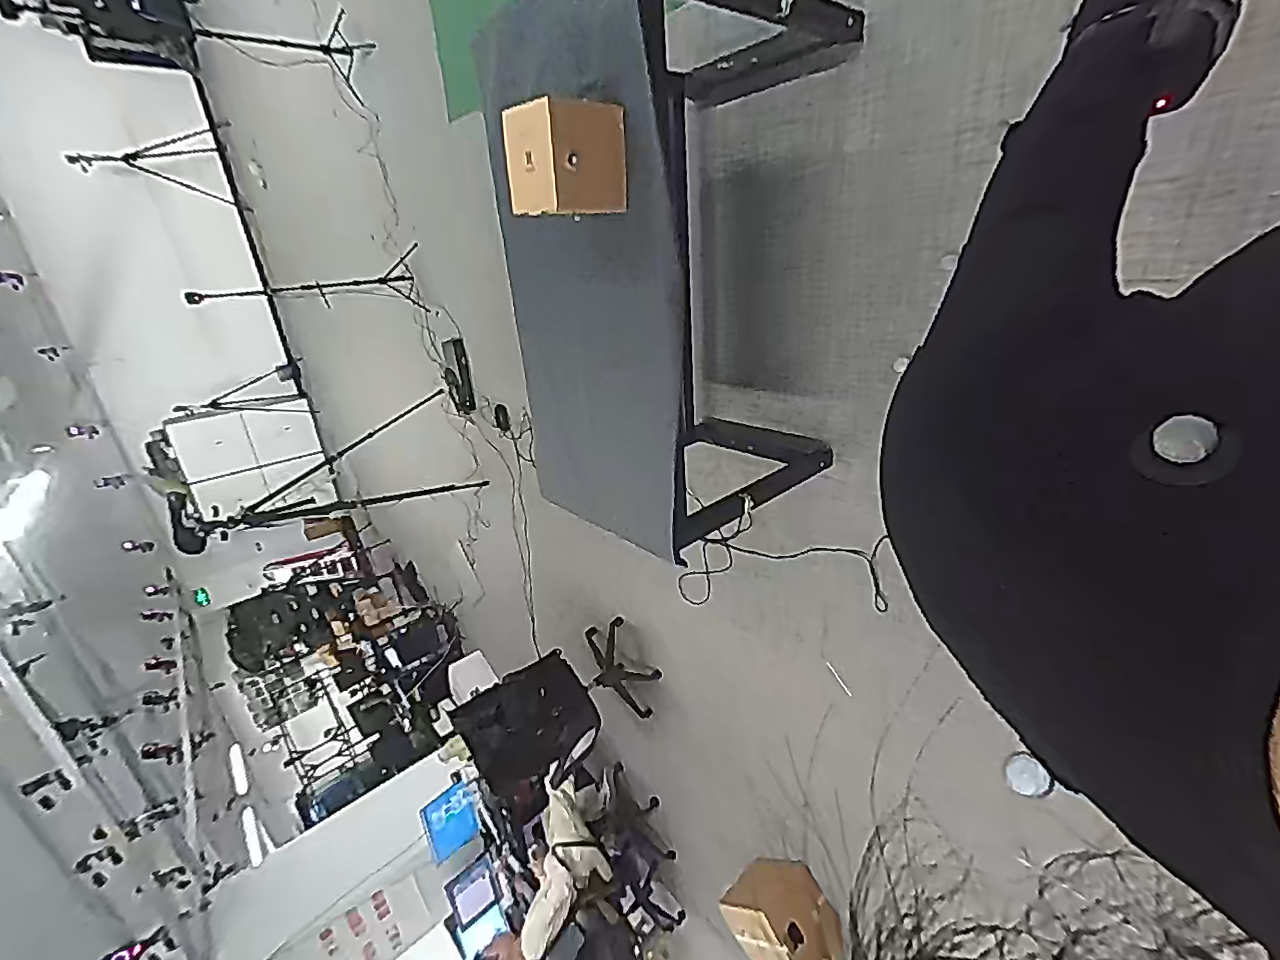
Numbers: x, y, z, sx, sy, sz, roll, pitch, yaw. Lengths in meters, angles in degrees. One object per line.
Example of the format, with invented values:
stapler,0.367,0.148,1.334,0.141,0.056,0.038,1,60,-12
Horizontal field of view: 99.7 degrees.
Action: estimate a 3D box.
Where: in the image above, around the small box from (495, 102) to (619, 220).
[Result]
small box,-0.152,-0.598,1.032,0.168,0.176,0.179,24,125,43
